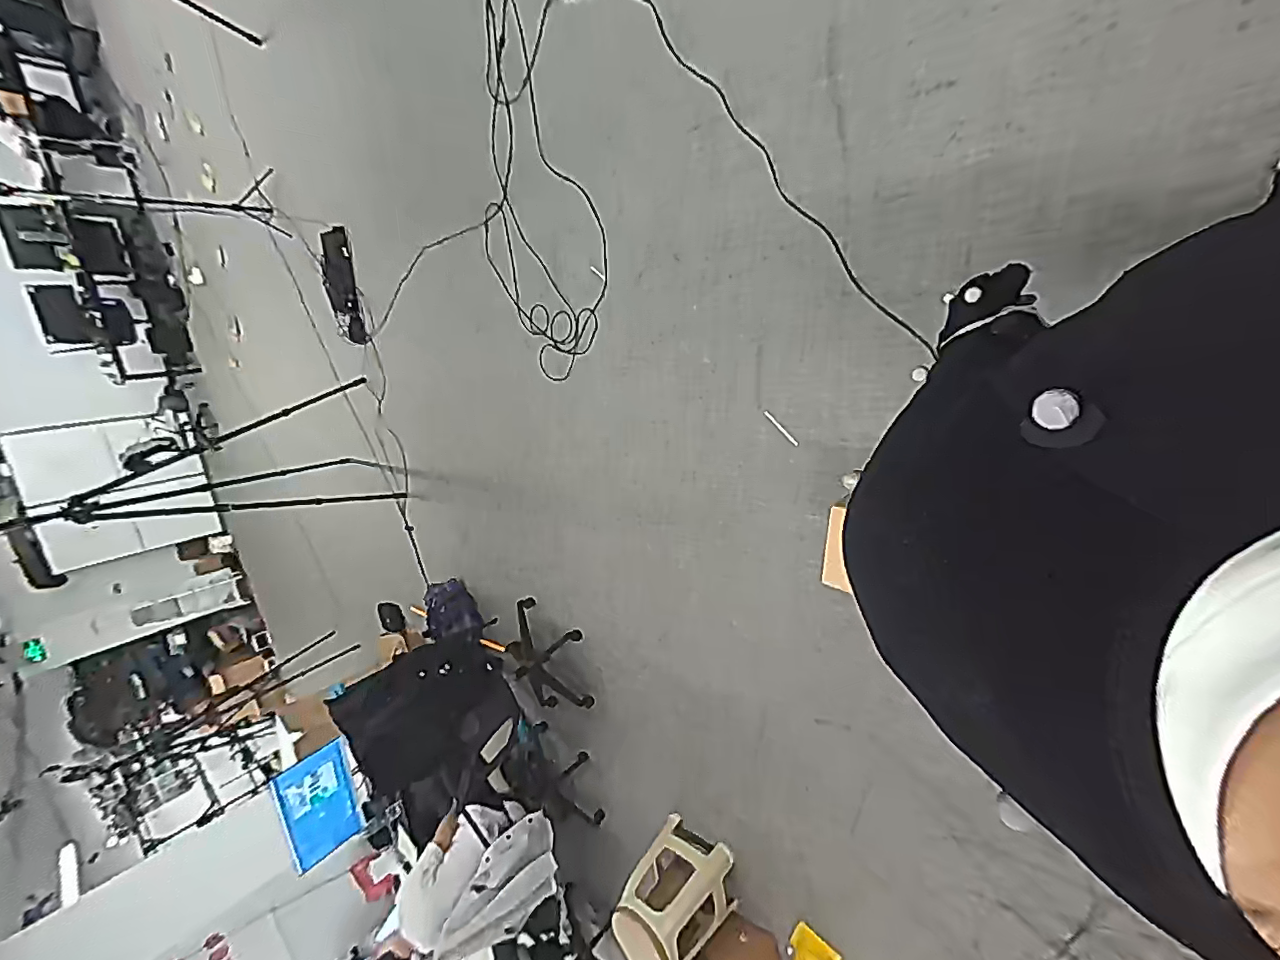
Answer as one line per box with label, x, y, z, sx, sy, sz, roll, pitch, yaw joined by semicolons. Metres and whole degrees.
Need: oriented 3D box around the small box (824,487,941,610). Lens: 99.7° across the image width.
small box;0.499;0.131;1.110;0.168;0.176;0.179;16;115;38
